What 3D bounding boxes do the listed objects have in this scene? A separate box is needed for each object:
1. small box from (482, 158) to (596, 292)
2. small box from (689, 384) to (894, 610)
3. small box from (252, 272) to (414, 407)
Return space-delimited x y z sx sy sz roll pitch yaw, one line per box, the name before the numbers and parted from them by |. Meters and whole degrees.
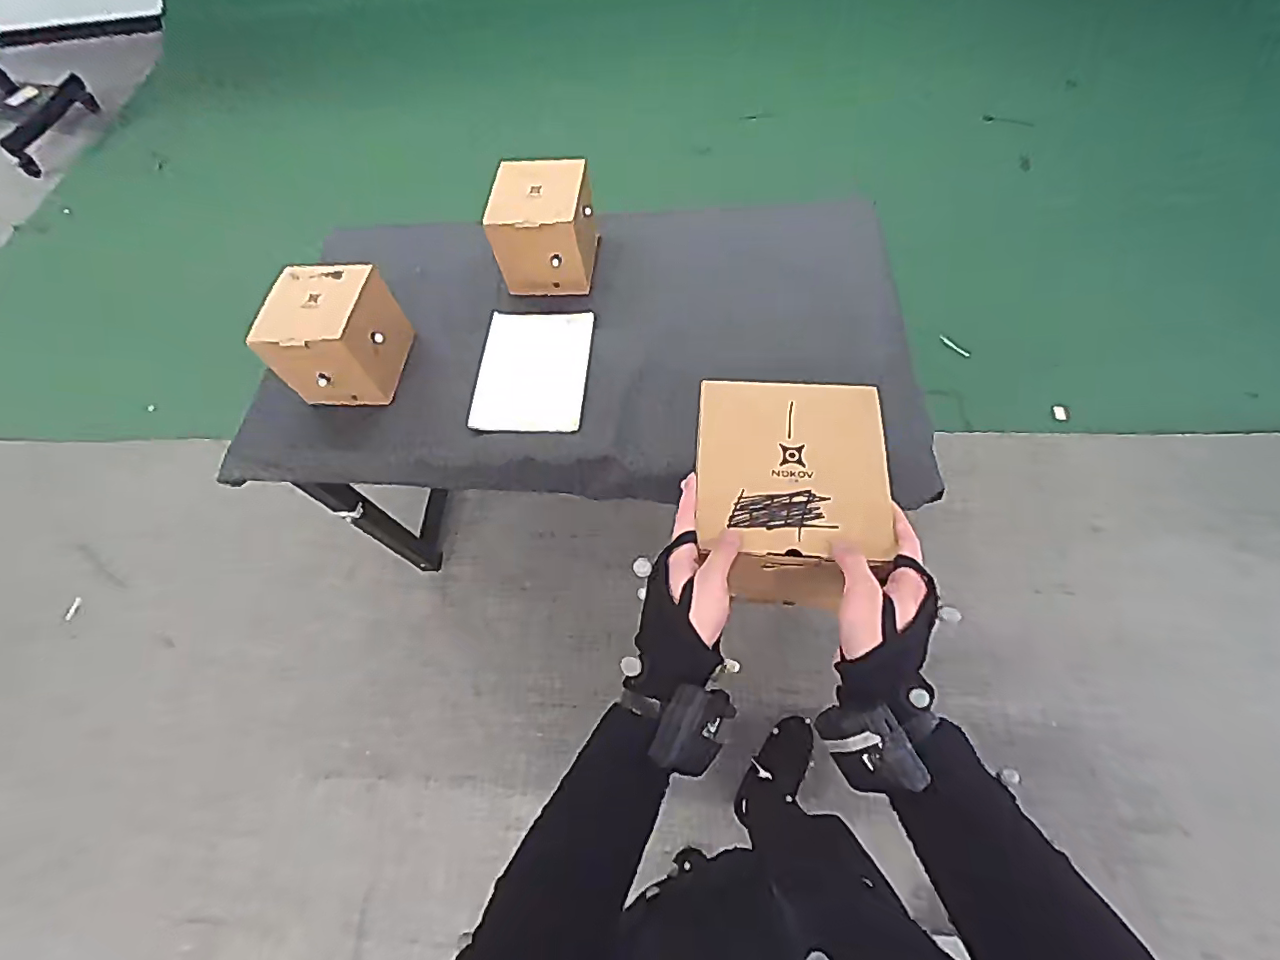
small box | -0.182 -0.482 1.039 0.168 0.176 0.179 2 63 6
small box | 0.139 0.026 0.552 0.168 0.176 0.179 4 62 5
small box | -0.533 -0.244 0.970 0.168 0.176 0.179 1 63 6
